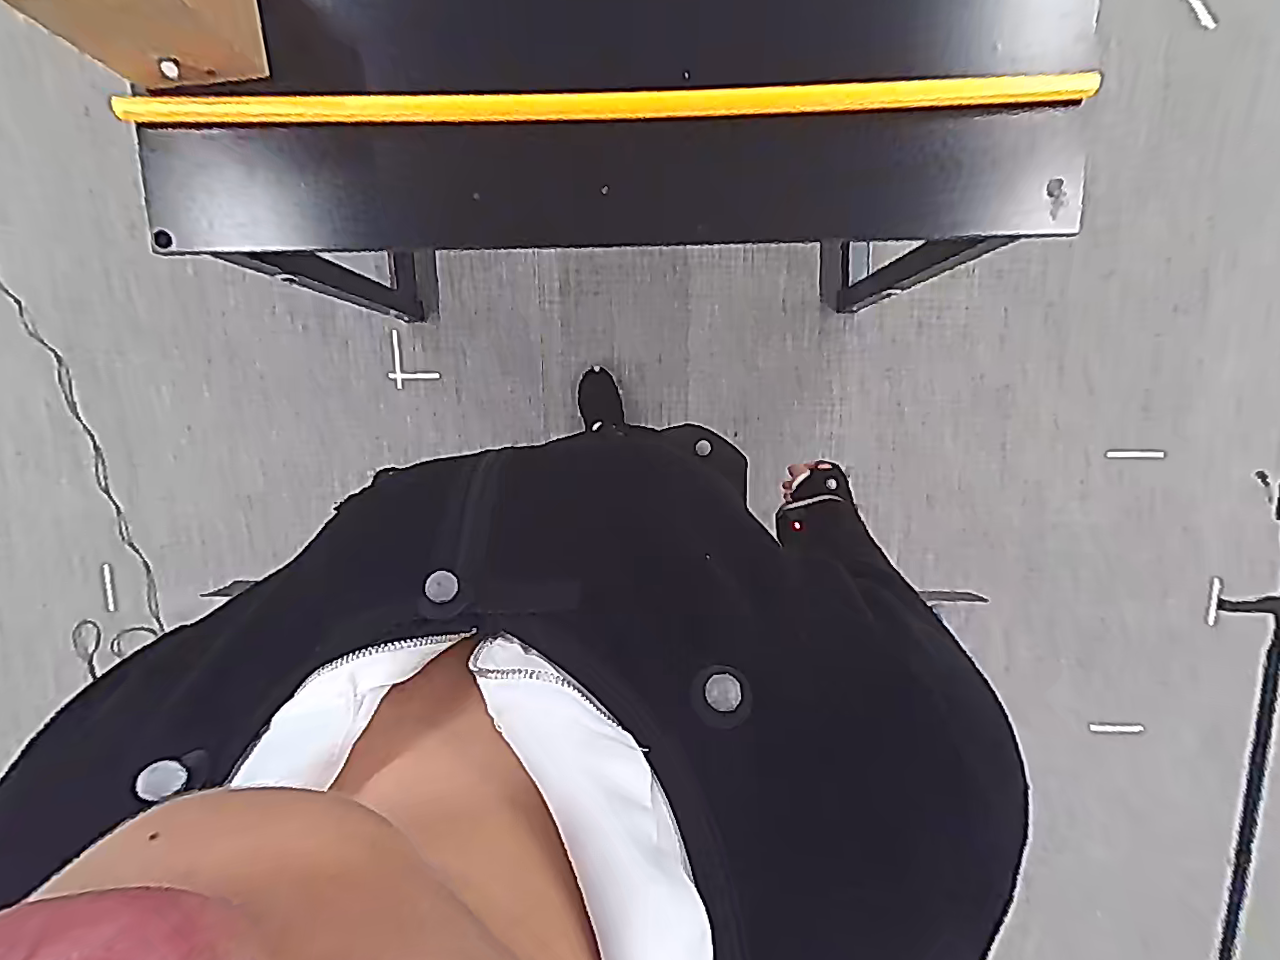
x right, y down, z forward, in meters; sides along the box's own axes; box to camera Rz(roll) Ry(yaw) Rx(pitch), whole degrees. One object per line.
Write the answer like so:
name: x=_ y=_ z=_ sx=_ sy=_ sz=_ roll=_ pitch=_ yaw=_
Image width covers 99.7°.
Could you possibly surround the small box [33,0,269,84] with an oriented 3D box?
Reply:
small box: x=-0.551 y=-0.581 z=0.592 sx=0.168 sy=0.176 sz=0.179 roll=-5 pitch=99 yaw=1
